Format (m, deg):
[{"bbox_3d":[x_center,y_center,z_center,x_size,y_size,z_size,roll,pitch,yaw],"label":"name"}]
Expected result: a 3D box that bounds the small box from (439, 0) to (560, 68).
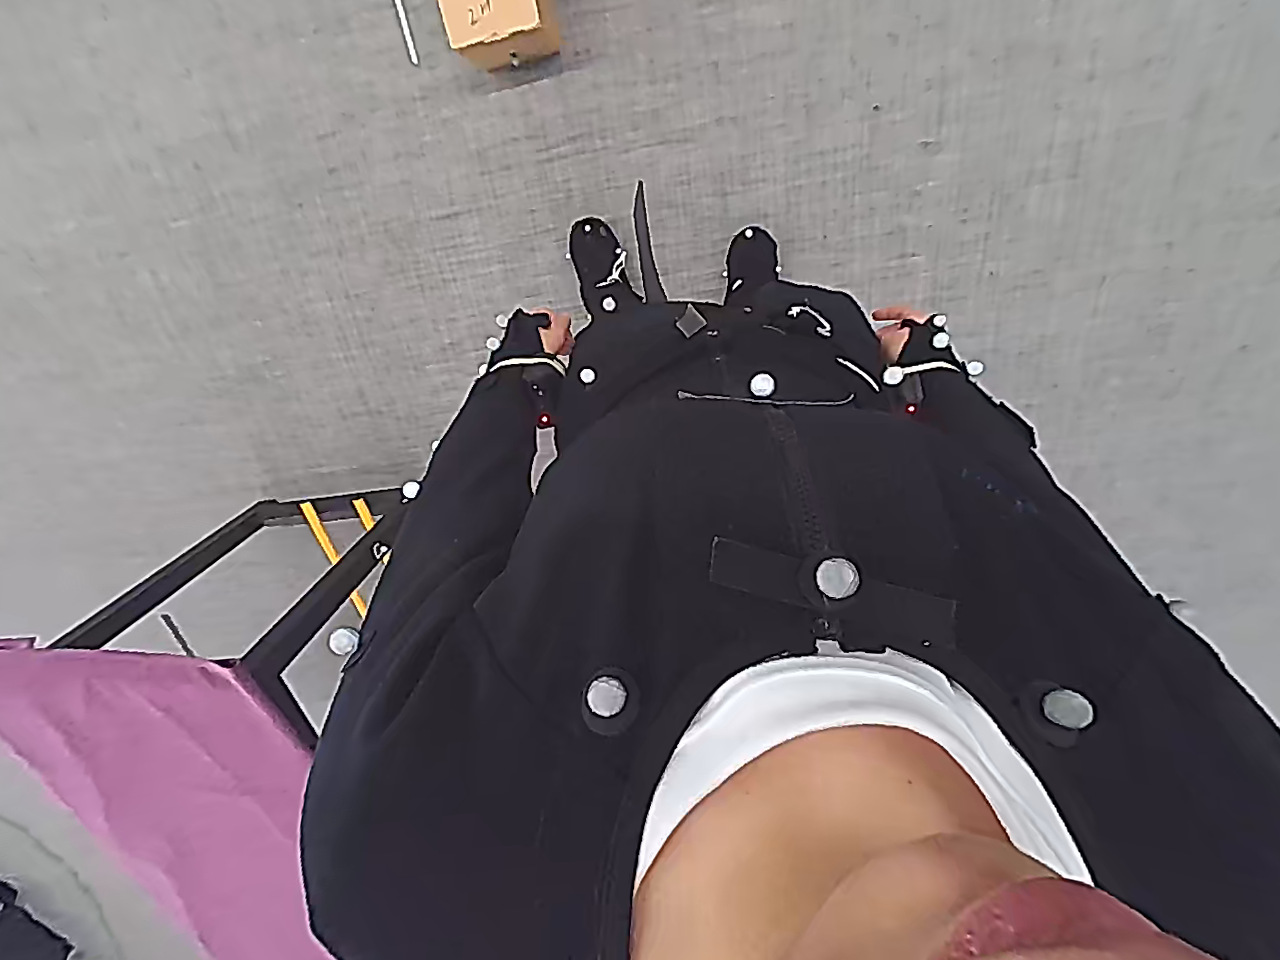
[{"bbox_3d":[-0.253,-0.865,0.951,0.168,0.176,0.179,-7,117,10],"label":"small box"}]
